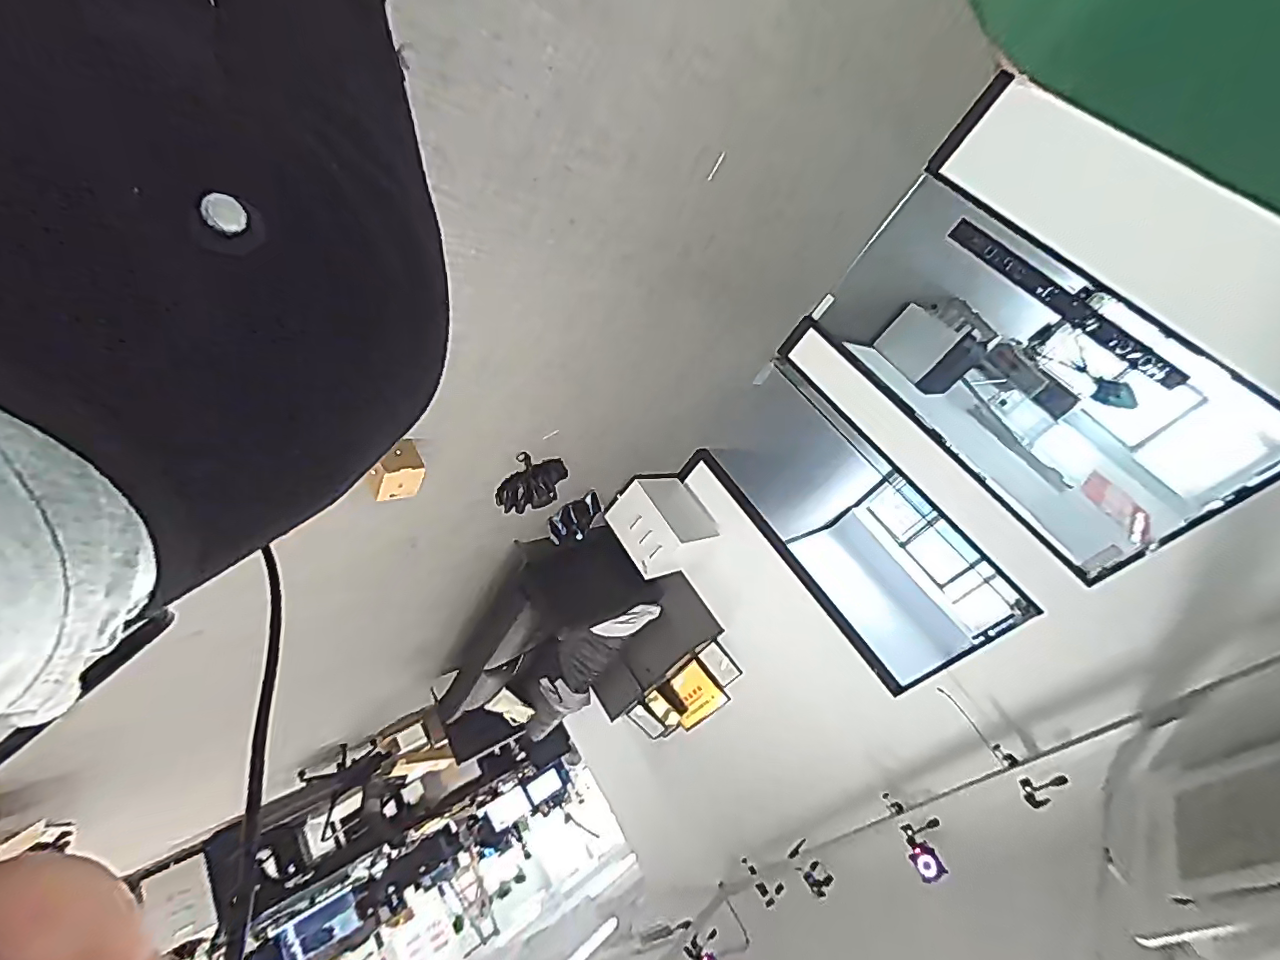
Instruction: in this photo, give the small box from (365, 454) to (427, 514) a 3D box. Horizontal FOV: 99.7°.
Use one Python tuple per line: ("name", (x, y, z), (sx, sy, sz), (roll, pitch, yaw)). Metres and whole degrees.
("small box", (-0.987, 0.007, 2.178), (0.168, 0.176, 0.179), (-11, 144, -45))
